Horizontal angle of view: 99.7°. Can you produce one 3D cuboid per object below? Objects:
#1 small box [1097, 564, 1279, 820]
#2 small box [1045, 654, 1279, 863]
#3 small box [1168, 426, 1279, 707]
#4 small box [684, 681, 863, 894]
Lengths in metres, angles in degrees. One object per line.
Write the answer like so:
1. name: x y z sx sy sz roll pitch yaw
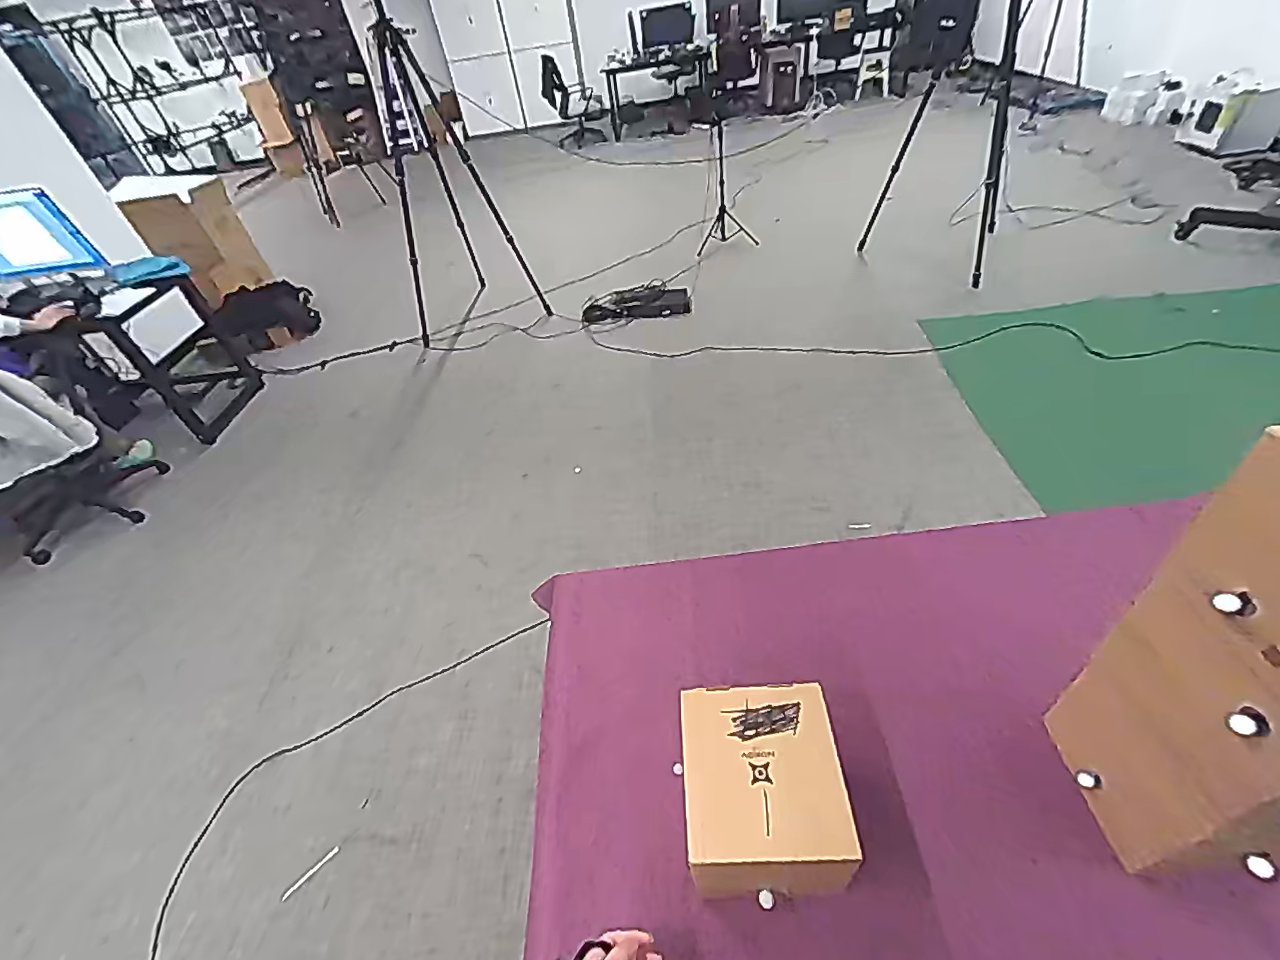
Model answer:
1. small box: 0.577 0.186 0.484 0.168 0.176 0.179 -6 43 4
2. small box: 0.603 0.305 0.597 0.168 0.176 0.179 -6 44 4
3. small box: 0.550 0.066 0.377 0.179 0.176 0.168 -7 42 5
4. small box: 0.141 0.358 0.631 0.168 0.176 0.179 -5 44 6
